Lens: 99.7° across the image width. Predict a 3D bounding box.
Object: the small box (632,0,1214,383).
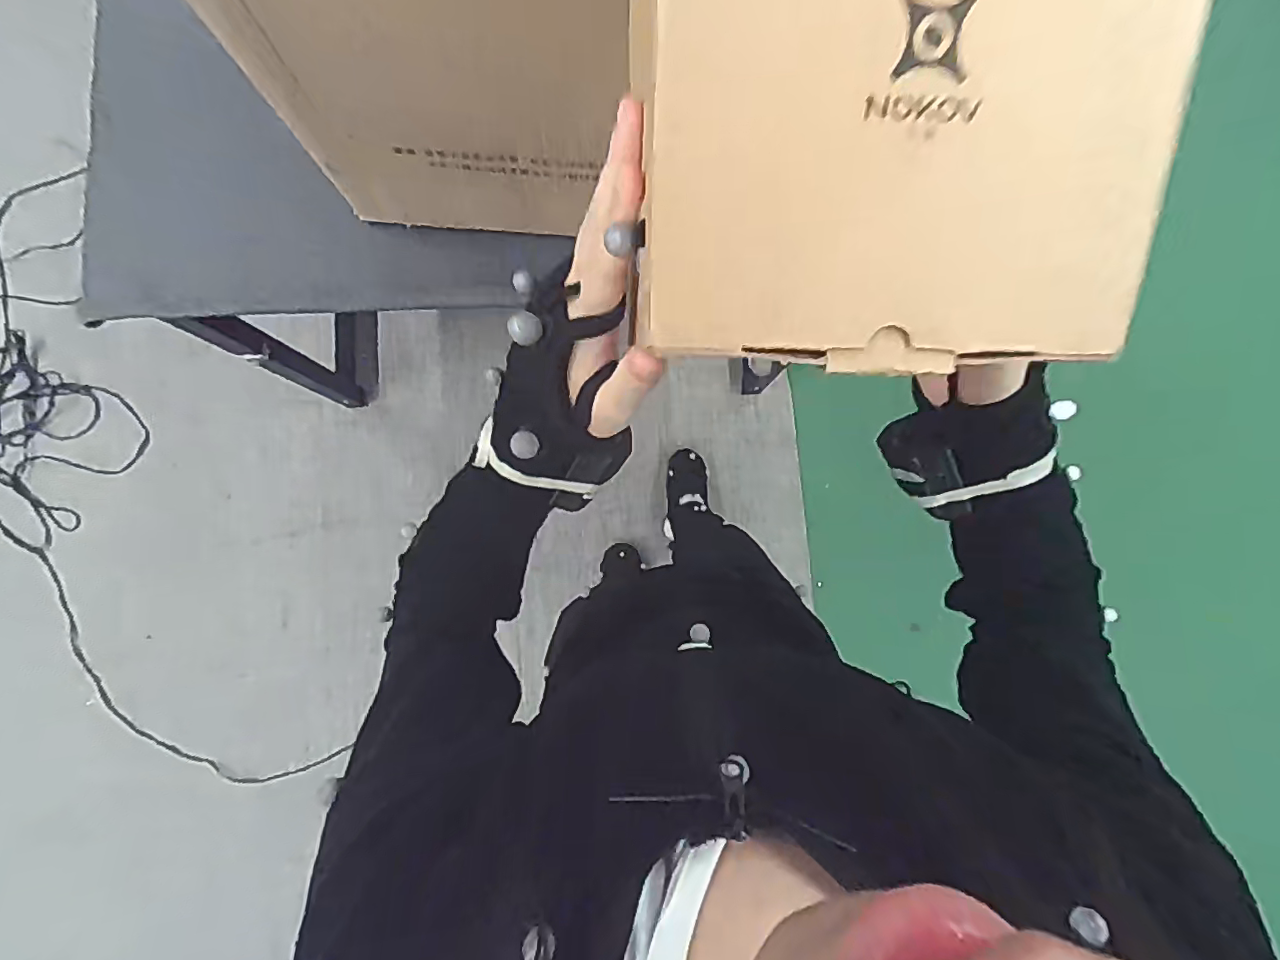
[{"bbox_3d":[0.083,-0.140,0.240,0.168,0.176,0.179,0,107,-4],"label":"small box"}]
